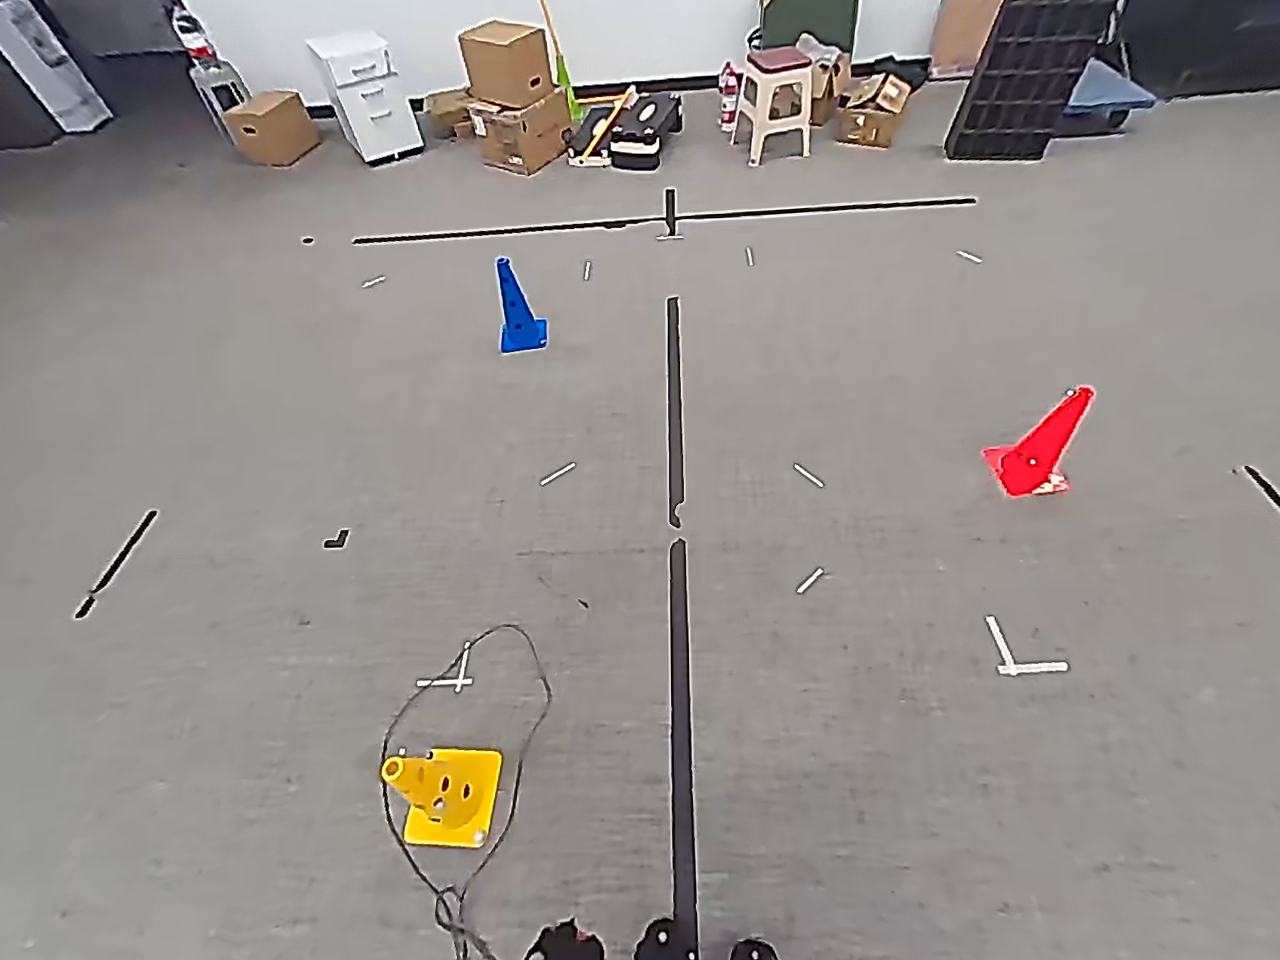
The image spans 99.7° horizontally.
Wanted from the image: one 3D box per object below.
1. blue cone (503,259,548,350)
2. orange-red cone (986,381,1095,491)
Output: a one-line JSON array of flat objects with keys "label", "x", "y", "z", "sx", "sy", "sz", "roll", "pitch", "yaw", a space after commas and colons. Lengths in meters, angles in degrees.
[{"label": "blue cone", "x": -0.514, "y": -0.737, "z": 2.250, "sx": 0.192, "sy": 0.380, "sz": 0.193, "roll": -6, "pitch": 52, "yaw": 1}, {"label": "orange-red cone", "x": 1.249, "y": -0.153, "z": 1.632, "sx": 0.198, "sy": 0.360, "sz": 0.199, "roll": -5, "pitch": 51, "yaw": 1}]
